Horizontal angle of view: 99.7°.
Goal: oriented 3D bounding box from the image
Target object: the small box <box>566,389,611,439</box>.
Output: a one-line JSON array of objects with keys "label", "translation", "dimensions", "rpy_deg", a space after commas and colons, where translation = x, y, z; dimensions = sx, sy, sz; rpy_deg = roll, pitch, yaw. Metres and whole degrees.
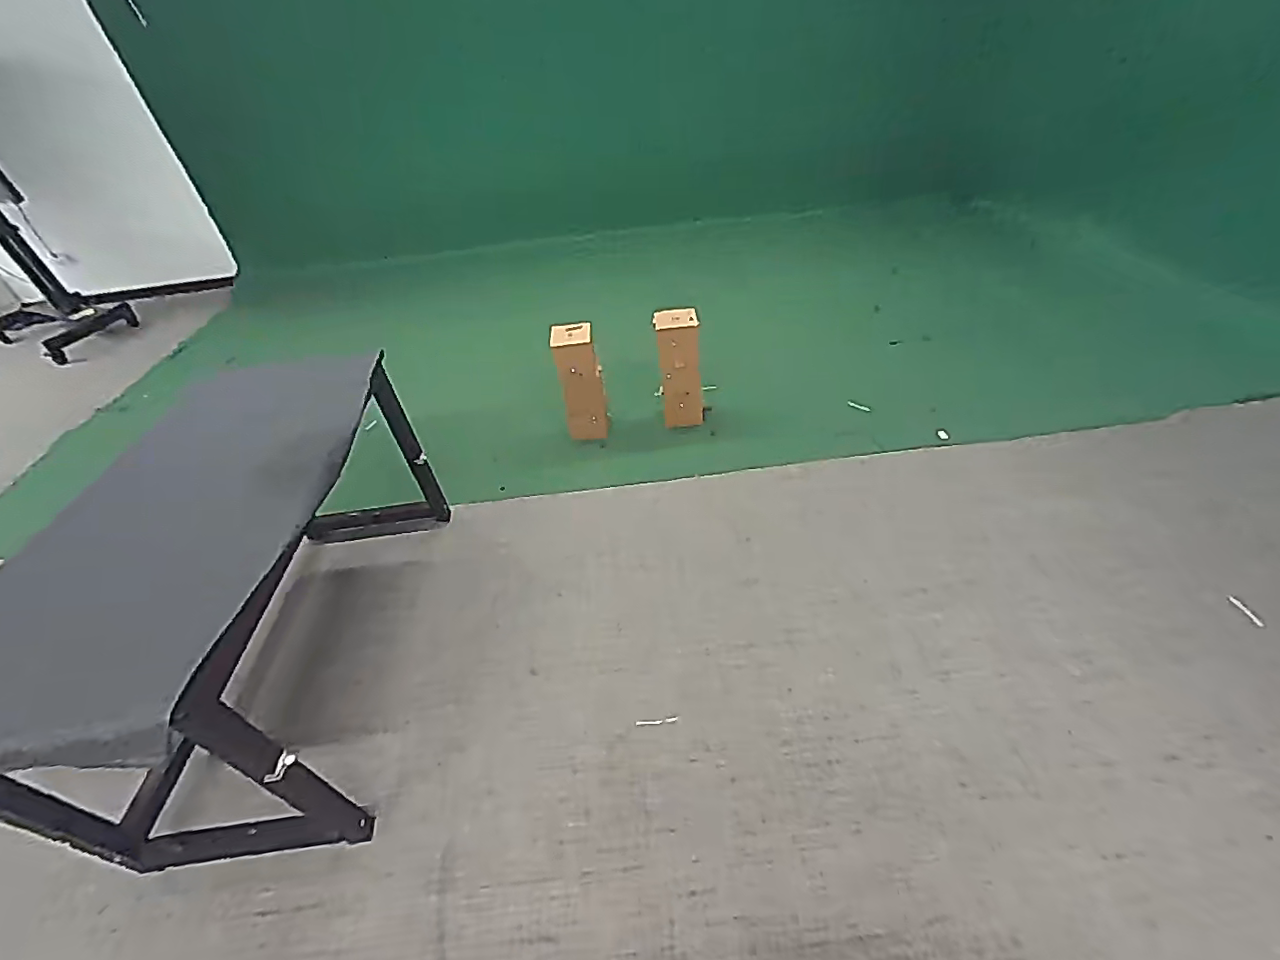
[{"label": "small box", "translation": [-0.234, -0.305, 2.510], "dimensions": [0.179, 0.176, 0.168], "rpy_deg": [-3, 42, 5]}]

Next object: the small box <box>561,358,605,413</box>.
[{"label": "small box", "translation": [-0.251, -0.418, 2.394], "dimensions": [0.179, 0.176, 0.168], "rpy_deg": [-9, 41, -1]}]

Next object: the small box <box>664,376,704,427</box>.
[{"label": "small box", "translation": [0.204, -0.364, 2.516], "dimensions": [0.179, 0.176, 0.168], "rpy_deg": [-4, 42, 3]}]

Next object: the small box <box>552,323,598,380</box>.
[{"label": "small box", "translation": [-0.273, -0.542, 2.288], "dimensions": [0.168, 0.176, 0.179], "rpy_deg": [-6, 42, 1]}]

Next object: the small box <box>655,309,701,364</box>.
[{"label": "small box", "translation": [0.161, -0.607, 2.299], "dimensions": [0.179, 0.176, 0.168], "rpy_deg": [-6, 41, 3]}]
